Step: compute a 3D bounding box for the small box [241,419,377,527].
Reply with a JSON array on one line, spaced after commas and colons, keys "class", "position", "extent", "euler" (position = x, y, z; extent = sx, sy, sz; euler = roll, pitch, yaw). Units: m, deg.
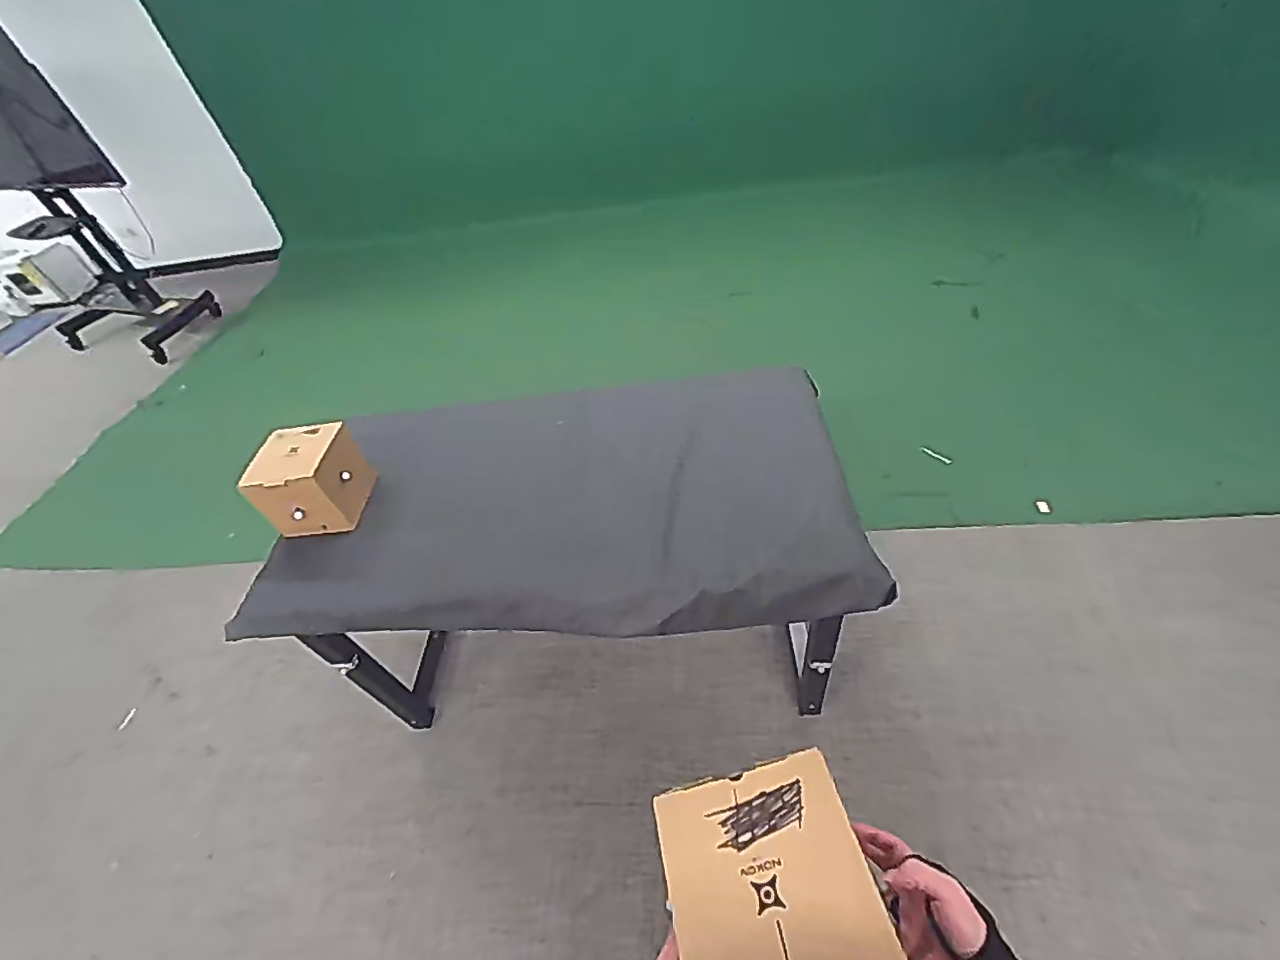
[{"class": "small box", "position": [-0.711, -0.008, 1.190], "extent": [0.168, 0.176, 0.179], "euler": [-5, 47, 4]}]
